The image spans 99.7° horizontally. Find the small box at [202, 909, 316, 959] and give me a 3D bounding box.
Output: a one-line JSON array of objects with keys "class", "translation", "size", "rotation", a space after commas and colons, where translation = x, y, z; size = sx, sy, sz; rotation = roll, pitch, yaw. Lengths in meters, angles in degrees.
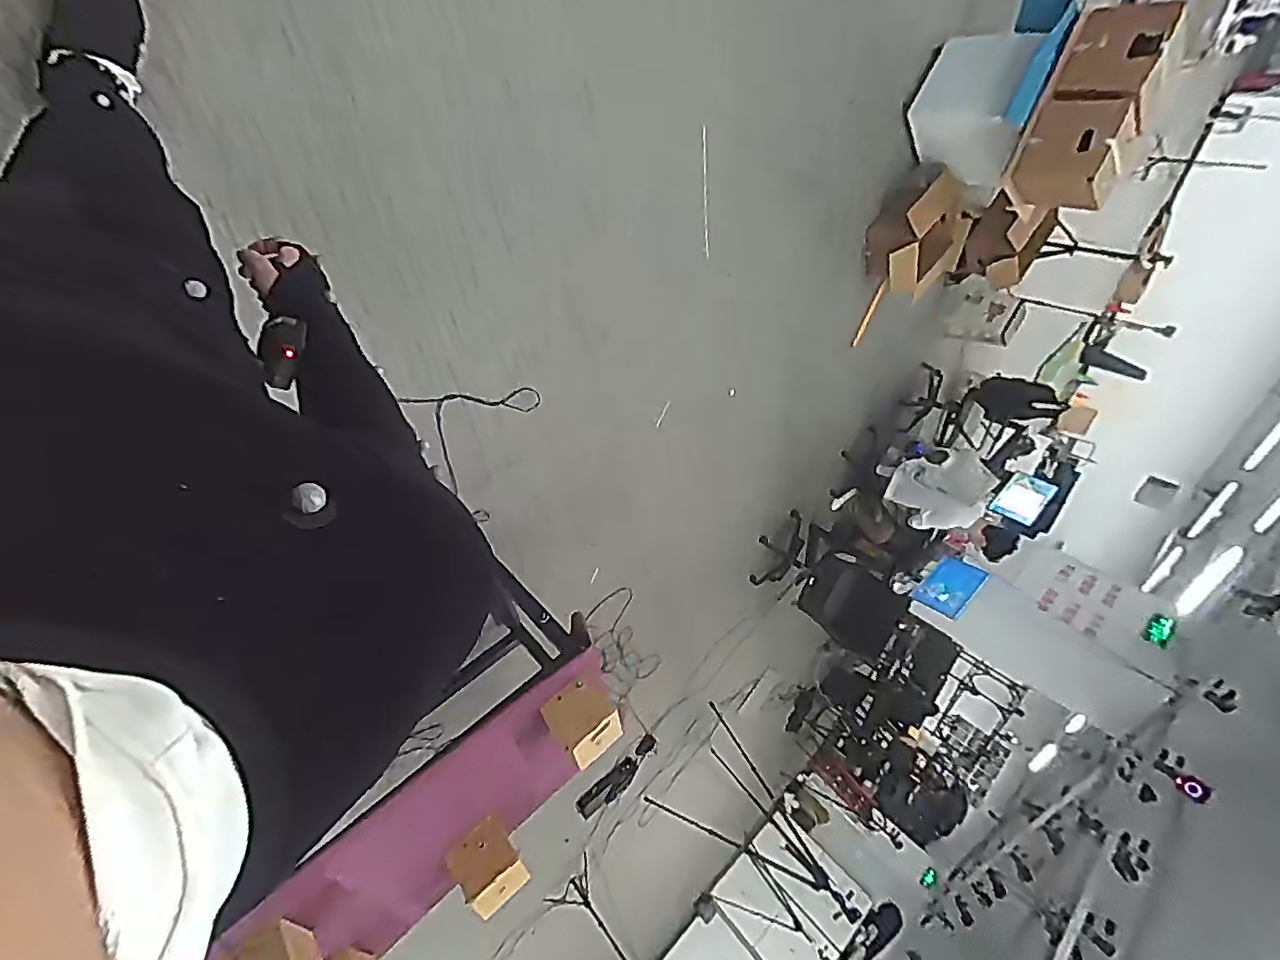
[{"class": "small box", "translation": [-0.858, 1.129, 1.229], "size": [0.168, 0.176, 0.179], "rotation": [-33, 137, -28]}]

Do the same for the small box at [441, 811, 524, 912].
[{"class": "small box", "translation": [-0.484, 1.167, 1.663], "size": [0.168, 0.176, 0.179], "rotation": [-31, 135, -27]}]

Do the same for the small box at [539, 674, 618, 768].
[{"class": "small box", "translation": [-0.187, 0.720, 1.637], "size": [0.168, 0.176, 0.179], "rotation": [-33, 139, -26]}]

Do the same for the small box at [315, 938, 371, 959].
[{"class": "small box", "translation": [-0.825, 1.394, 1.463], "size": [0.168, 0.176, 0.179], "rotation": [-36, 138, -27]}]
